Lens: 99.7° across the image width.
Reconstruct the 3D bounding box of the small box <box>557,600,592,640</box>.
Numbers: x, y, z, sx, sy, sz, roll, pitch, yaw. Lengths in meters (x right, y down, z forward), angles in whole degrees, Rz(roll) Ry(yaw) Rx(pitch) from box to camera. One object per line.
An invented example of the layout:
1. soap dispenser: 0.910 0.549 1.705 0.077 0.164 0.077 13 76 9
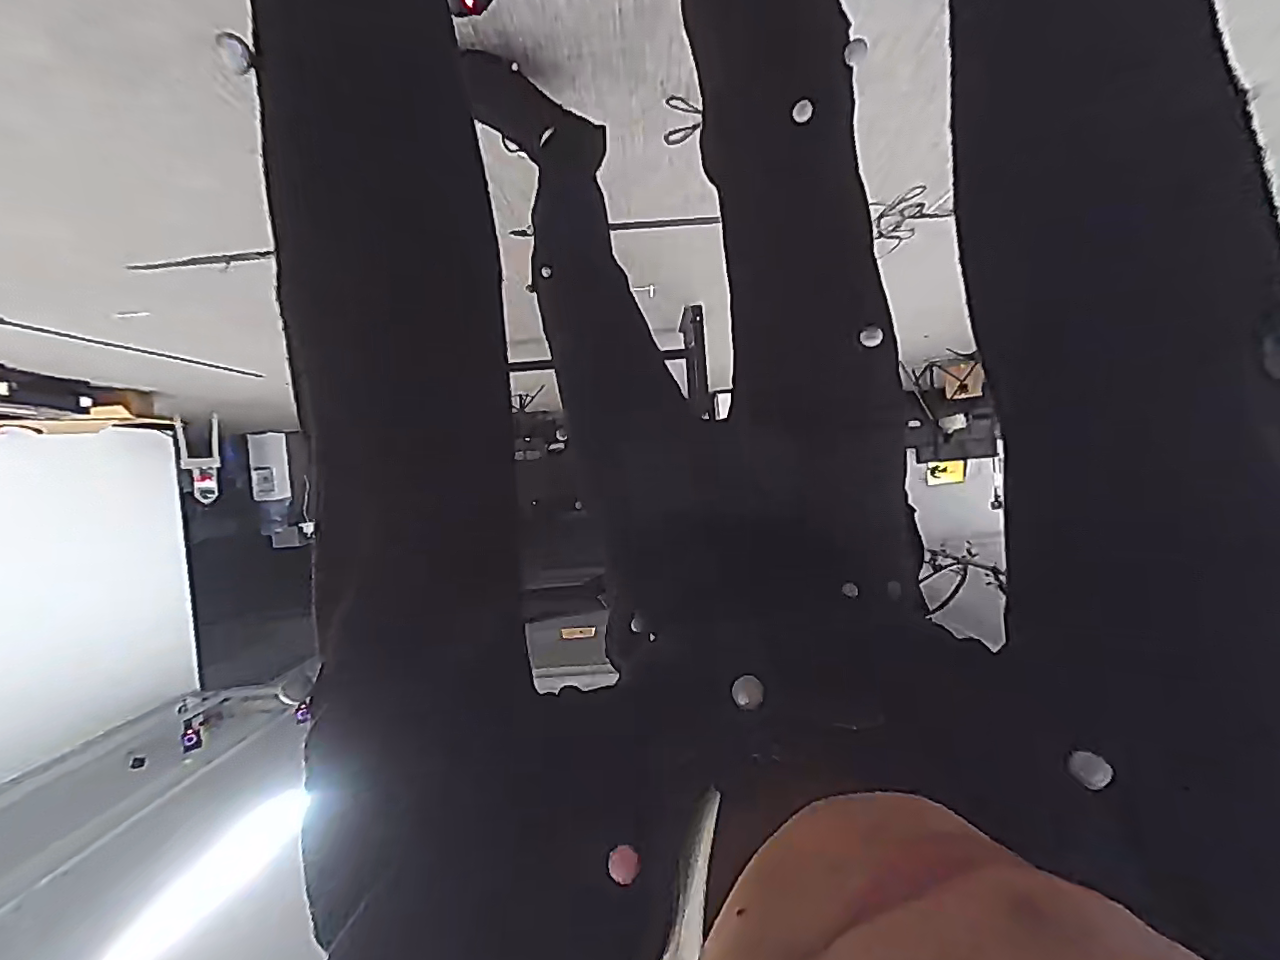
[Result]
1. small box: -0.360 0.764 2.976 0.168 0.176 0.179 -5 -178 1
